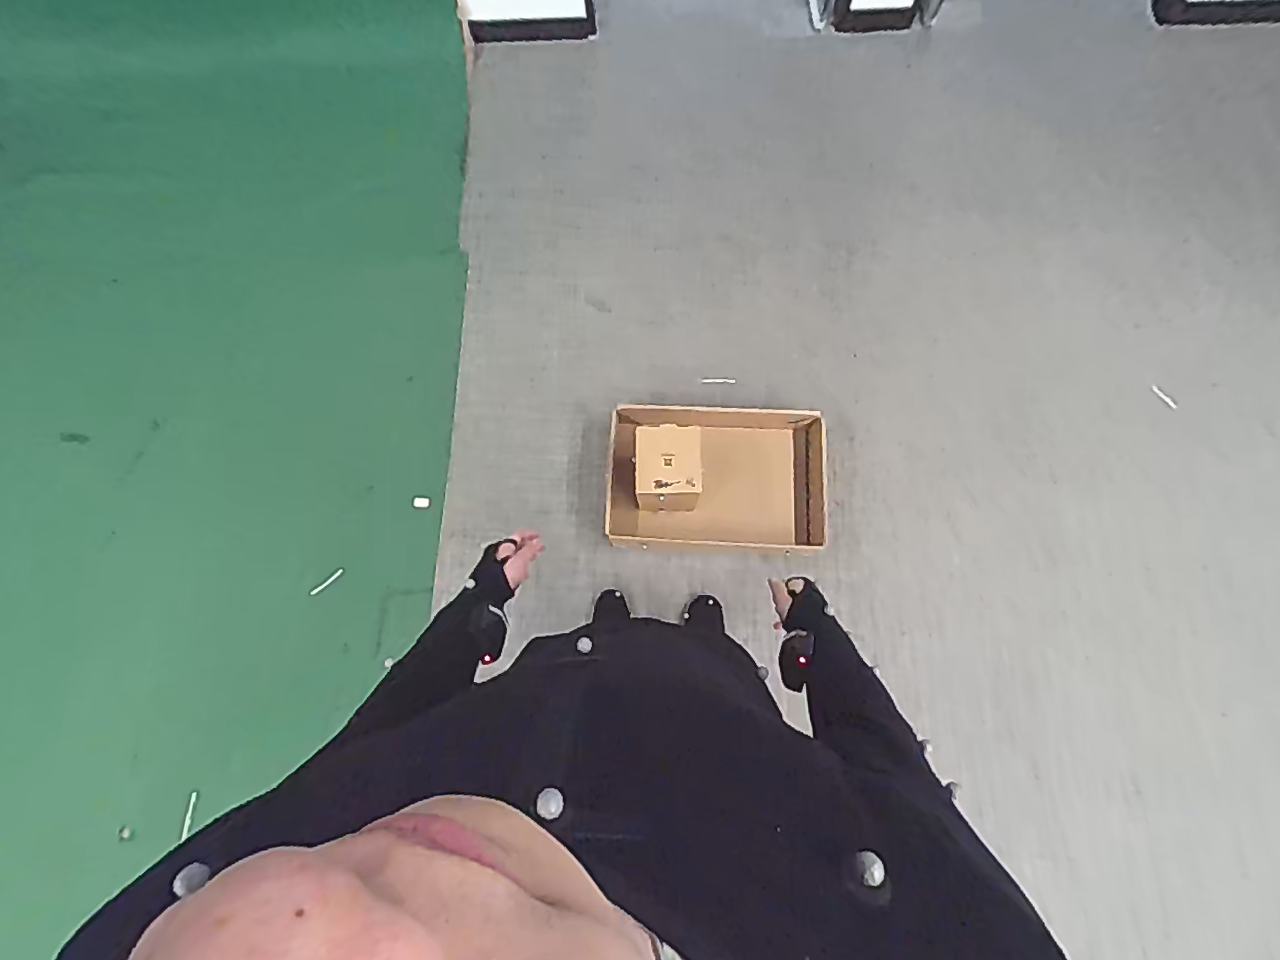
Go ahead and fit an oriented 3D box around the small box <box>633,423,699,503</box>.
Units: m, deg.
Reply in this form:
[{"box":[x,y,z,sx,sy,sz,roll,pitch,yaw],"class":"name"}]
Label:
[{"box":[0.067,-0.042,1.426,0.168,0.176,0.179,-1,78,2],"class":"small box"}]
